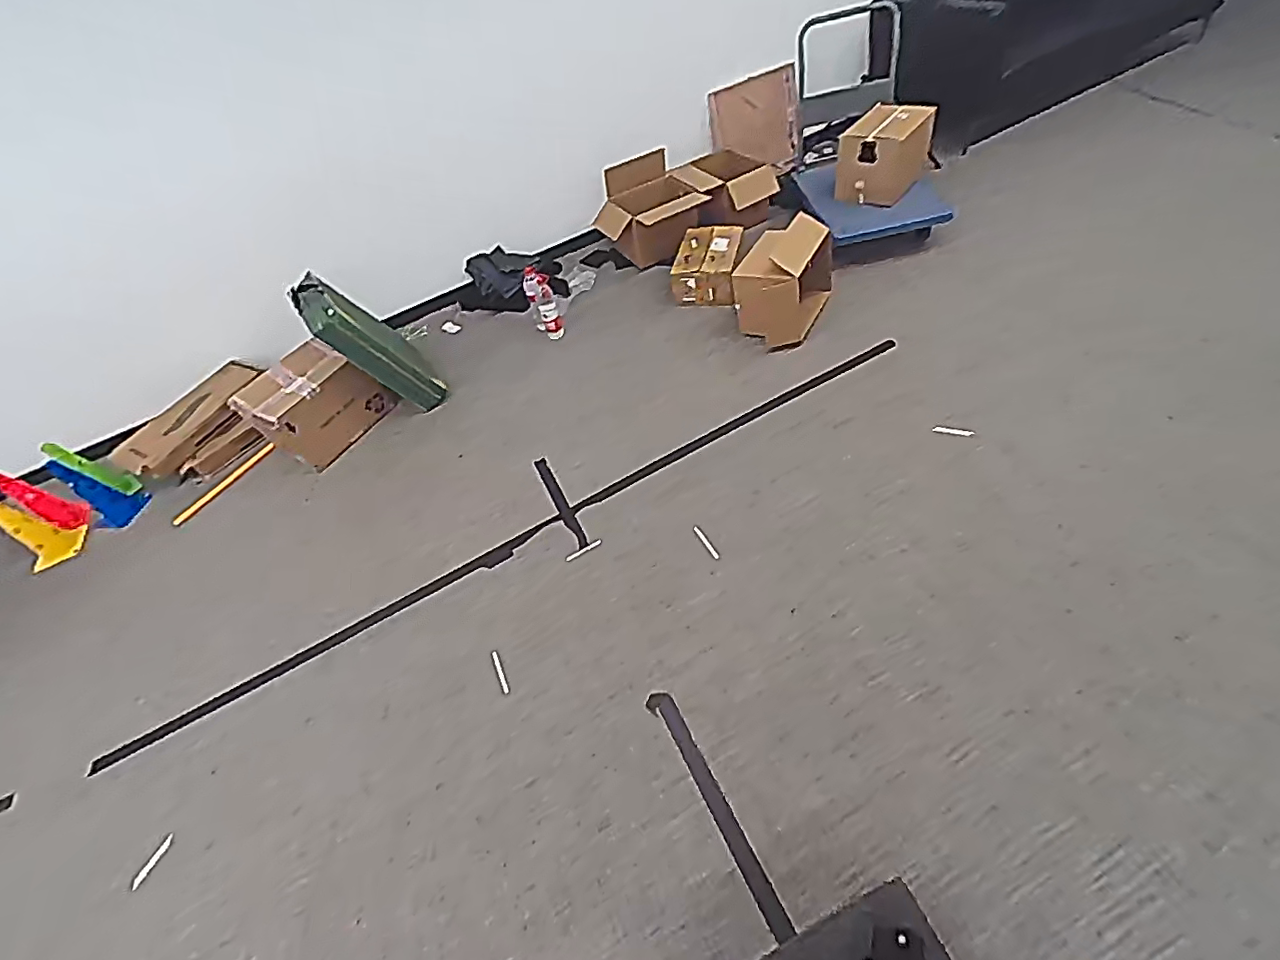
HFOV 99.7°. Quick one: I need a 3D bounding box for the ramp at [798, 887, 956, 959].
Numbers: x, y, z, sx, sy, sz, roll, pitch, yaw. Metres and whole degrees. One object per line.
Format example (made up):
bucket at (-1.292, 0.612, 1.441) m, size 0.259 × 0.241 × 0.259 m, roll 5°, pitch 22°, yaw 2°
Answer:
ramp at (0.555, 1.284, 0.802) m, size 0.509 × 0.206 × 0.991 m, roll -27°, pitch 49°, yaw -11°
